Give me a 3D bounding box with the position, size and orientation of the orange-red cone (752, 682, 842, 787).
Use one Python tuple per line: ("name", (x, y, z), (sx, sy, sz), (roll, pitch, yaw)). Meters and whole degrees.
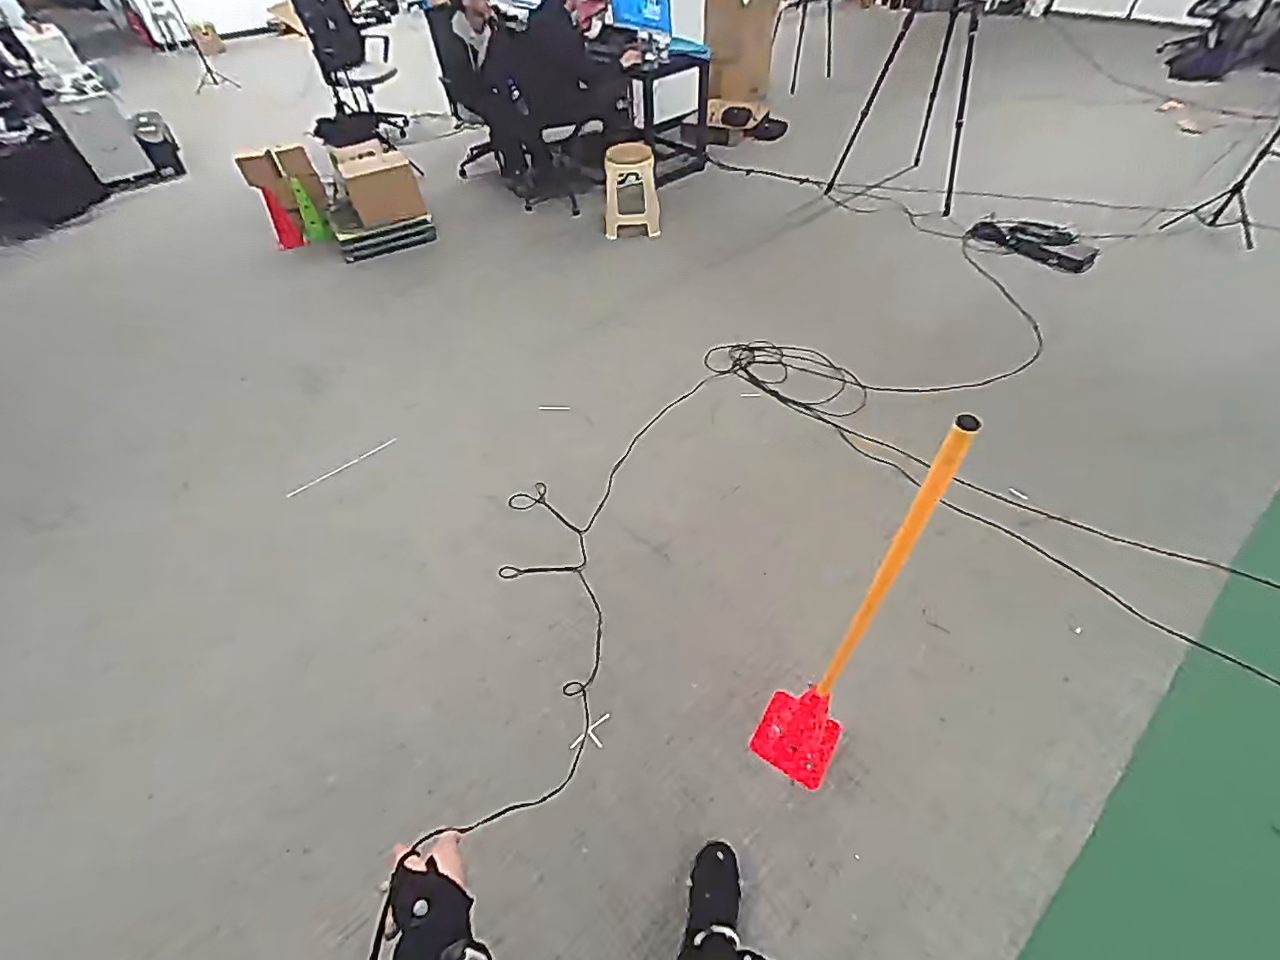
("orange-red cone", (0.424, 0.588, 1.353), (0.198, 0.360, 0.199), (27, 55, 24))
